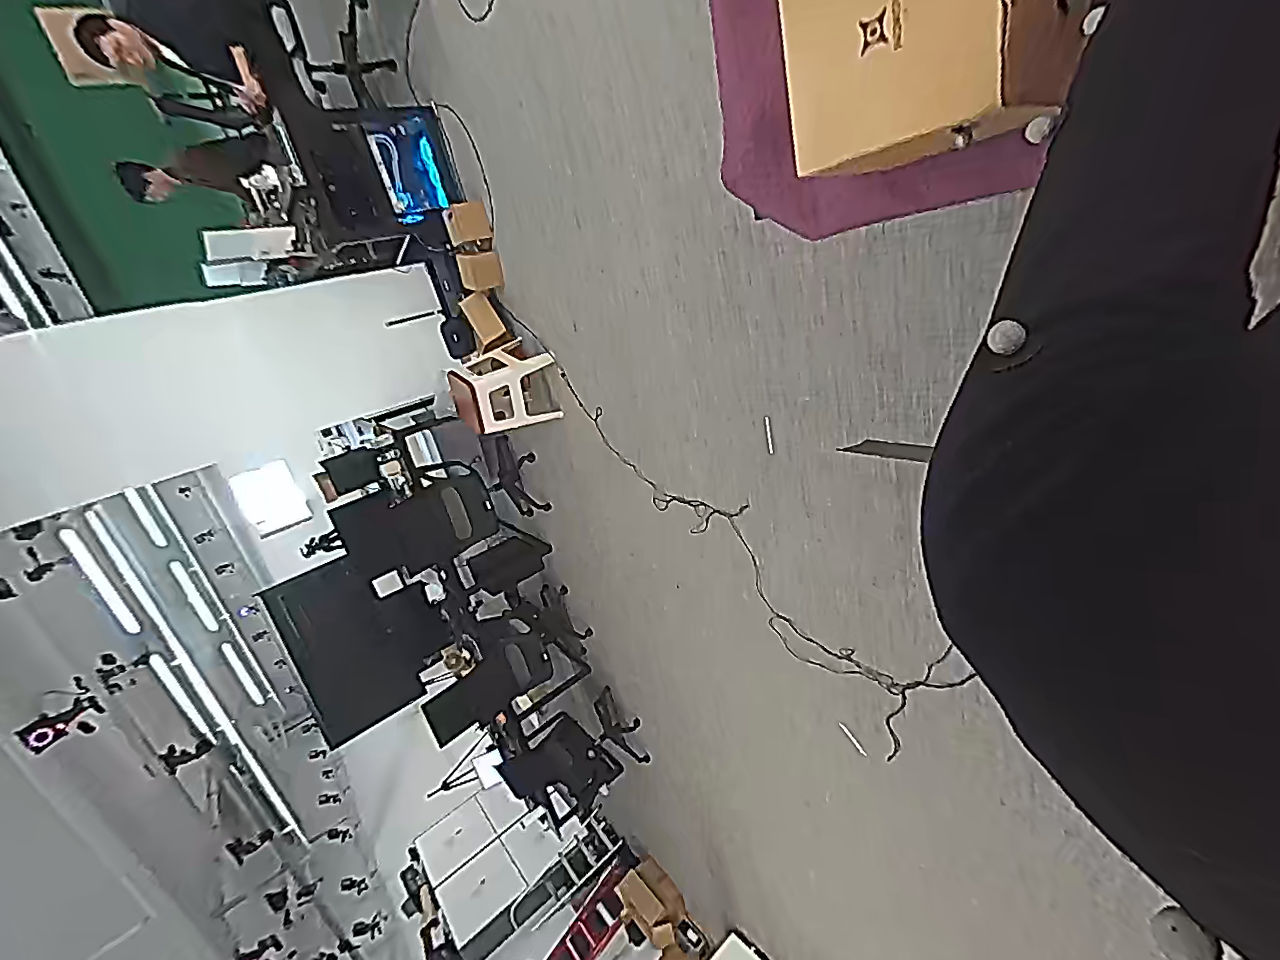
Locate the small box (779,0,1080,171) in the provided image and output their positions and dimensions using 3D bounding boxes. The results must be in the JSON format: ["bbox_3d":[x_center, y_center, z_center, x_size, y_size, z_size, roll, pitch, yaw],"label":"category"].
[{"bbox_3d":[0.248,-0.386,0.469,0.179,0.176,0.168,12,122,52],"label":"small box"}]
